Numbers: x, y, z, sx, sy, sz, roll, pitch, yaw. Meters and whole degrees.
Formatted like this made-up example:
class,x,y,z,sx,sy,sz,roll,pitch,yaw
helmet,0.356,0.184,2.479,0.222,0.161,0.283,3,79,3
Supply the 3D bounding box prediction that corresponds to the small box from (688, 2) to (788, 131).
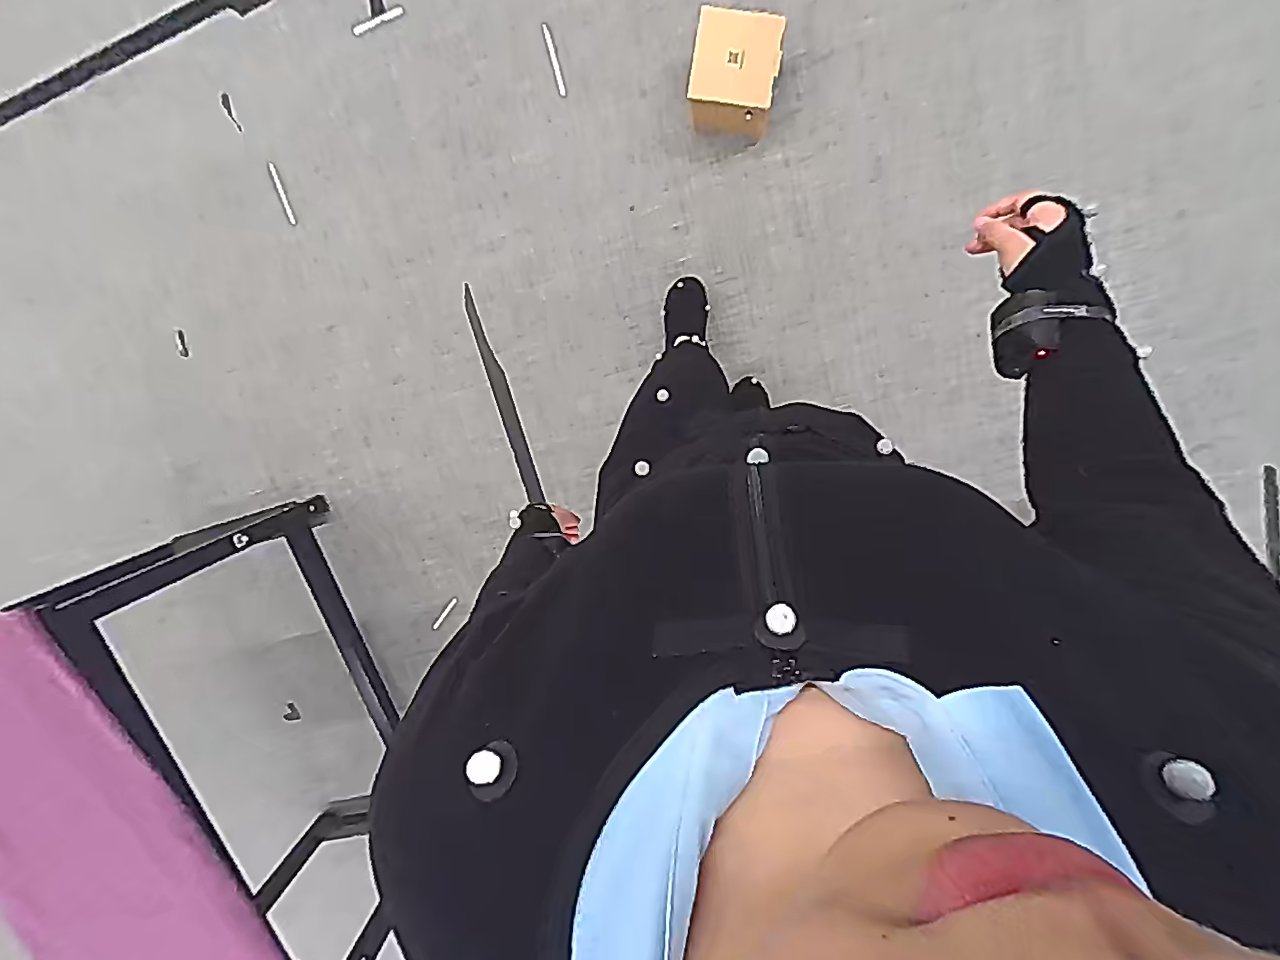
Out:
class,x,y,z,sx,sy,sz,roll,pitch,yaw
small box,0.206,-0.885,1.173,0.179,0.176,0.168,10,106,4
